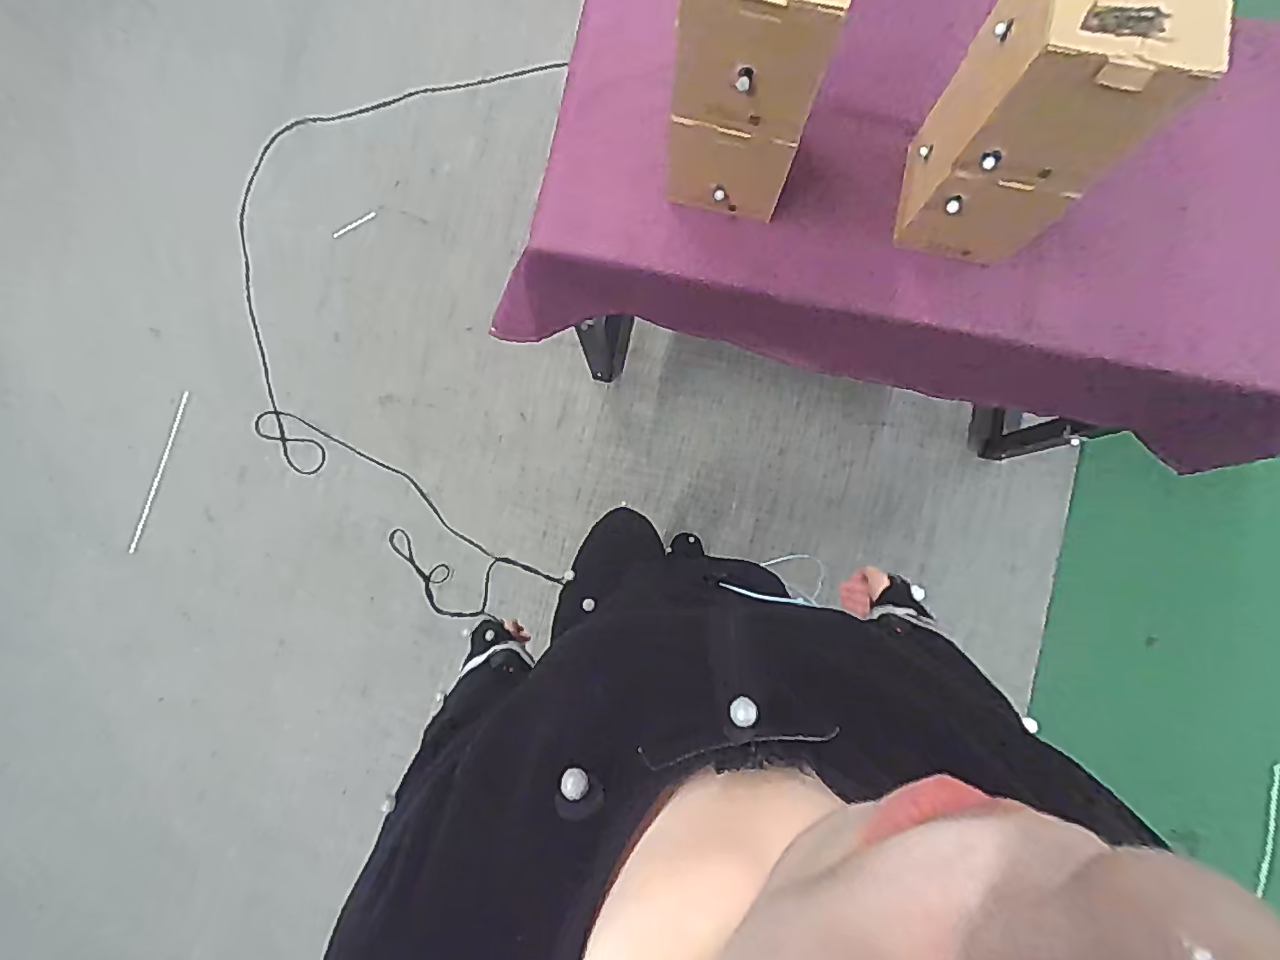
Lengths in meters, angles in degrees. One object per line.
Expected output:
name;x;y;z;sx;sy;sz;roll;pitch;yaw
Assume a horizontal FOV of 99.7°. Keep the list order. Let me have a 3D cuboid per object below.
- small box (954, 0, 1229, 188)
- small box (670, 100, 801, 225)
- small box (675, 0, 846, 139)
small box;0.476;-0.459;0.594;0.168;0.176;0.179;12;81;3
small box;0.139;-0.505;0.772;0.168;0.176;0.179;13;83;3
small box;0.136;-0.529;0.609;0.168;0.176;0.179;13;84;2
